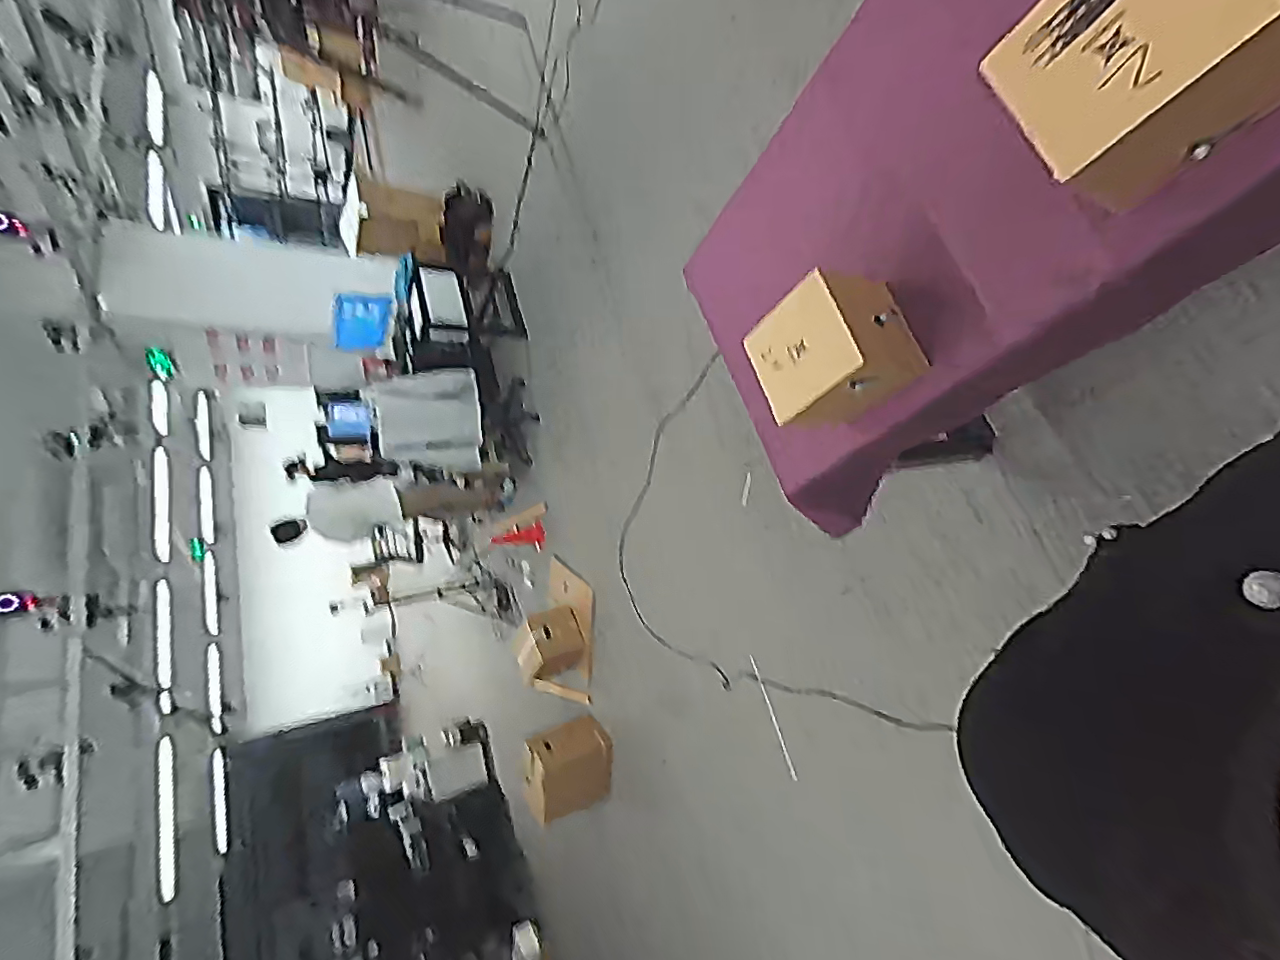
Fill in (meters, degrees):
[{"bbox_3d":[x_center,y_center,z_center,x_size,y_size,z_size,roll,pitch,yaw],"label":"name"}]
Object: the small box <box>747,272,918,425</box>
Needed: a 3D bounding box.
[{"bbox_3d":[0.311,-0.202,0.868,0.179,0.176,0.168,-43,58,51],"label":"small box"}]
